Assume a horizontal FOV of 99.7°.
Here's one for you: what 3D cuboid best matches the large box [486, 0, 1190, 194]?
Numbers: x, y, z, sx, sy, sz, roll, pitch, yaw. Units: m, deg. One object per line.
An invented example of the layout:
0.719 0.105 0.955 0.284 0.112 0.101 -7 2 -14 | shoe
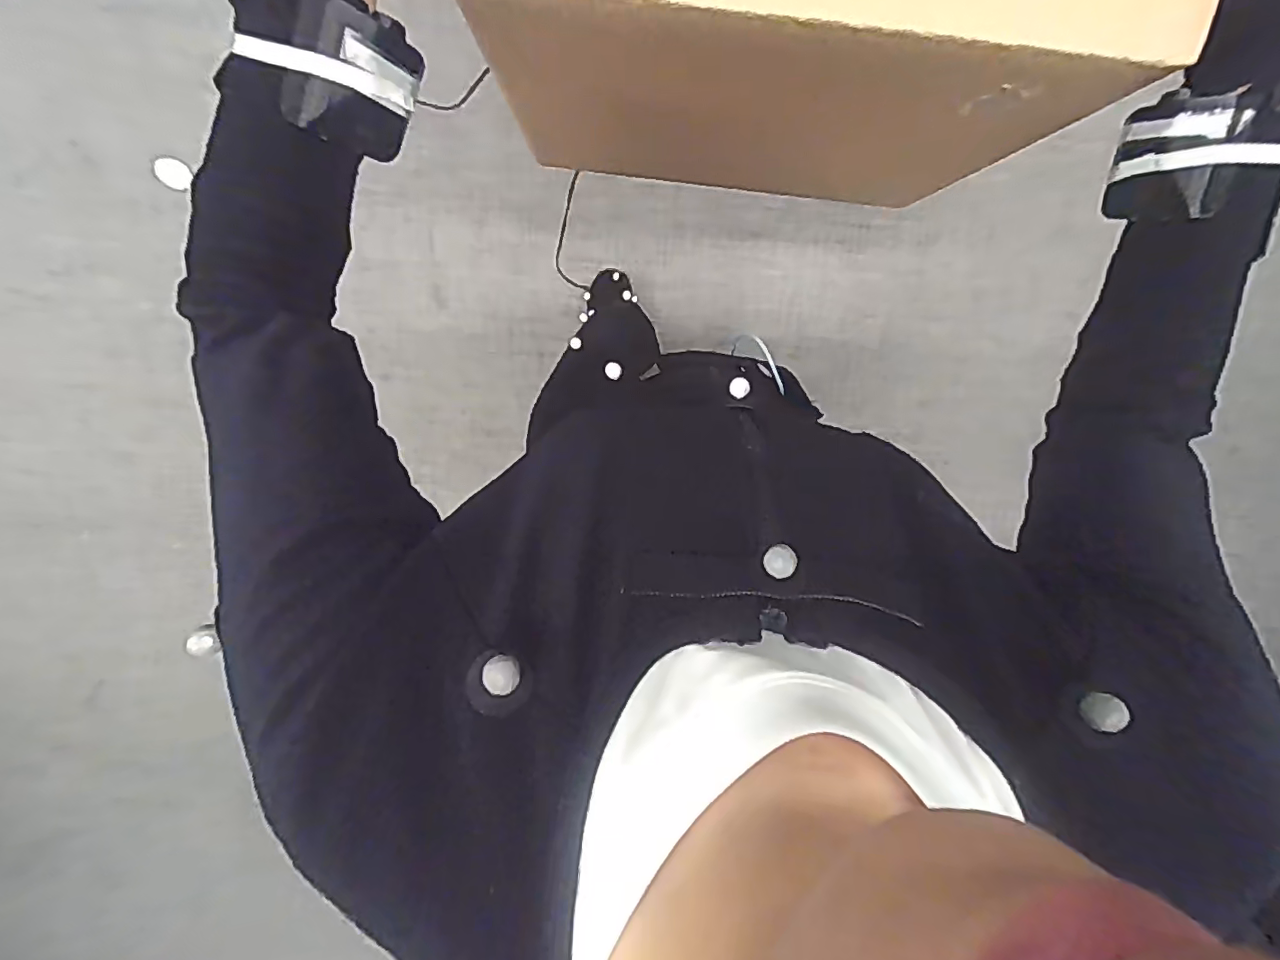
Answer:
0.110 -0.436 0.403 0.408 0.320 0.320 4 104 -4 | large box
